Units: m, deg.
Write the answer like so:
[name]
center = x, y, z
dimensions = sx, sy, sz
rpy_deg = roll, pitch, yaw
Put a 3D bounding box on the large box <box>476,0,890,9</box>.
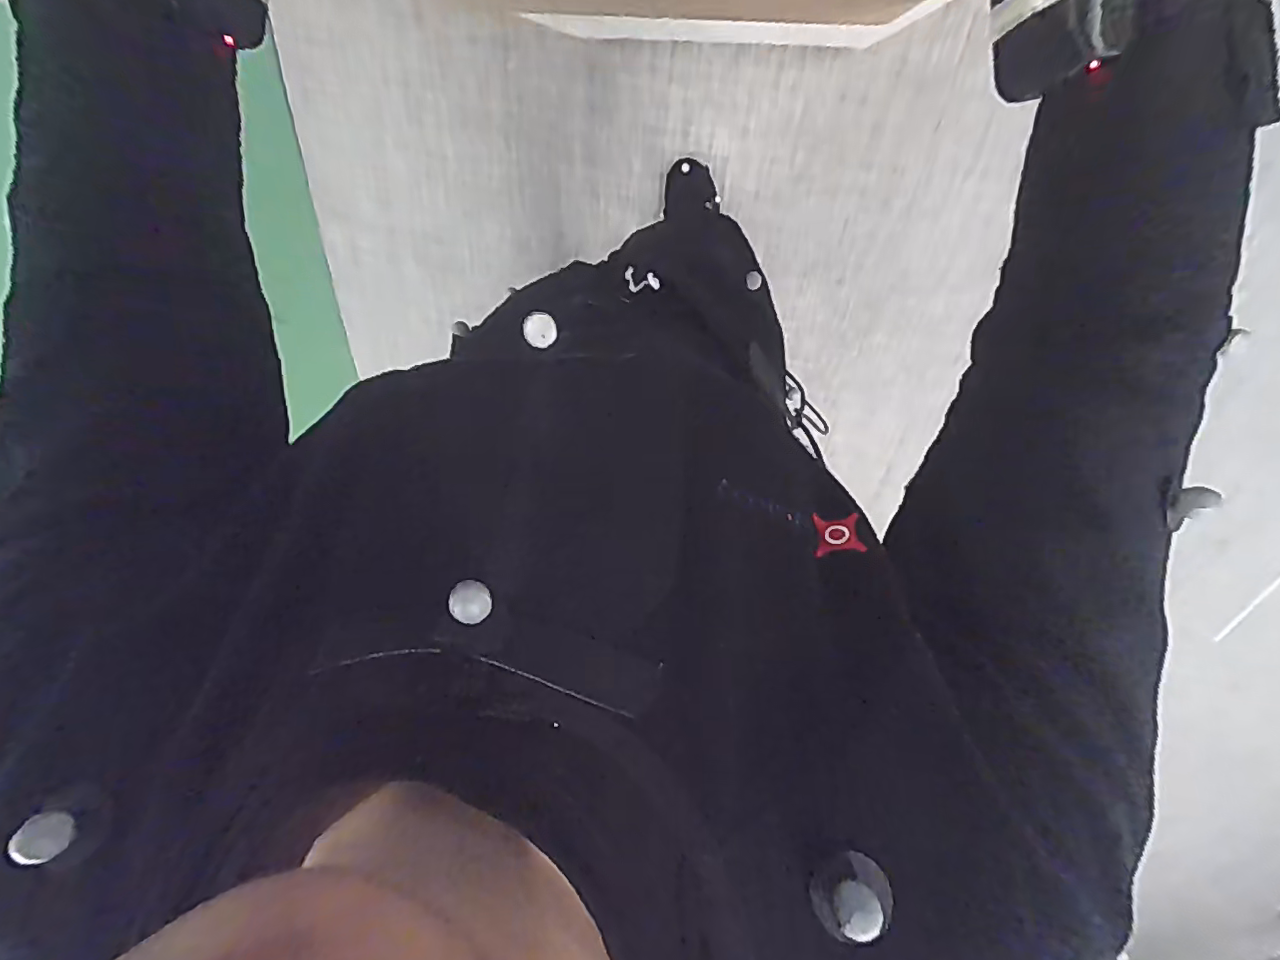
[large box]
center = 0.015, -0.495, 0.310
dimensions = 0.408, 0.320, 0.320
rpy_deg = 6, 126, 6
